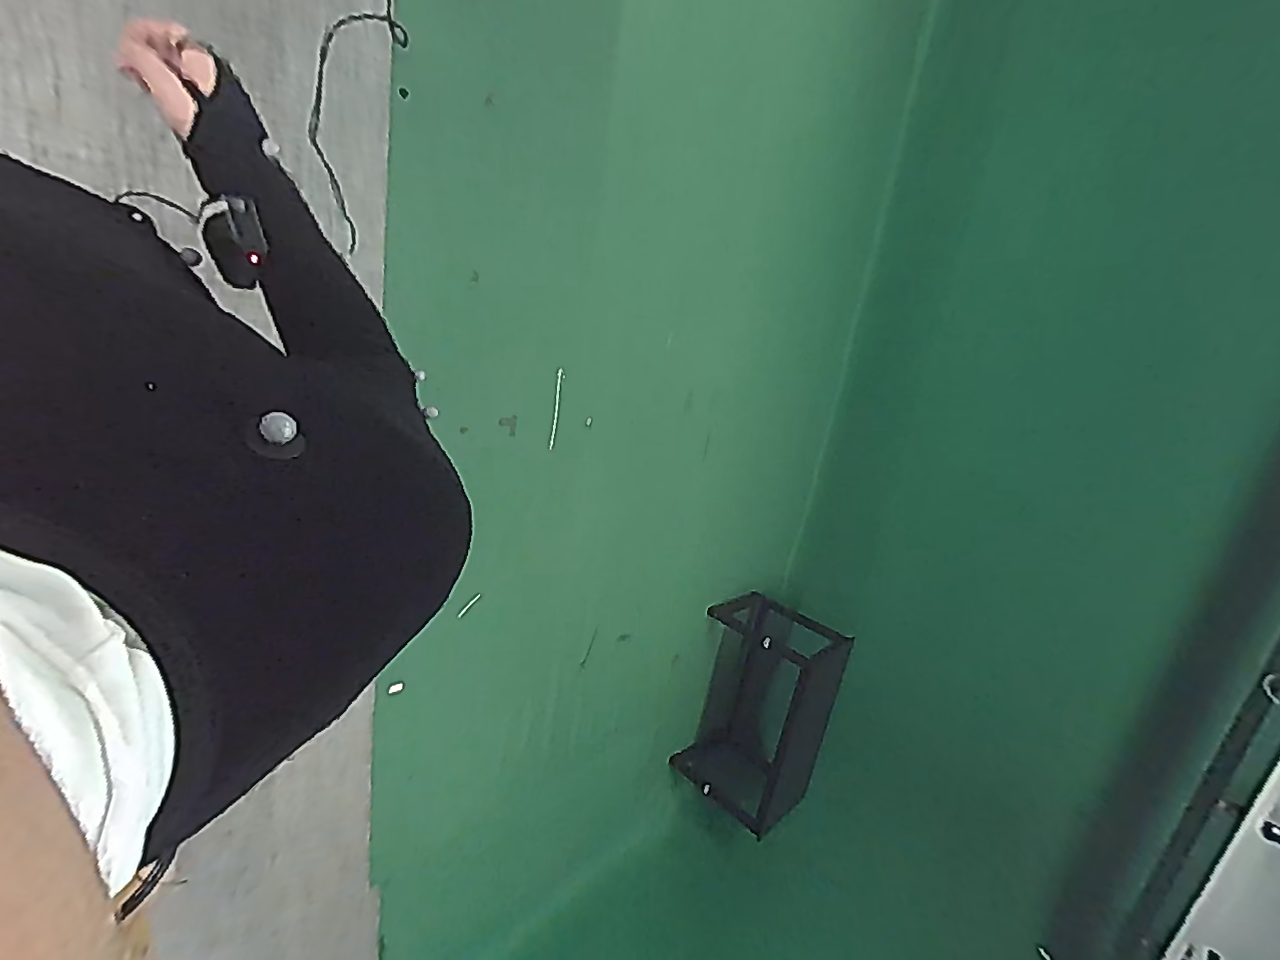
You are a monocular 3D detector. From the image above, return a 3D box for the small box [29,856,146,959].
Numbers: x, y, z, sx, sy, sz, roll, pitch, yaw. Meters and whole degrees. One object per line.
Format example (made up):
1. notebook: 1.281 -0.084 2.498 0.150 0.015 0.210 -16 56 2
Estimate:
1. small box: -1.277 1.031 1.249 0.179 0.176 0.168 3 106 -49
